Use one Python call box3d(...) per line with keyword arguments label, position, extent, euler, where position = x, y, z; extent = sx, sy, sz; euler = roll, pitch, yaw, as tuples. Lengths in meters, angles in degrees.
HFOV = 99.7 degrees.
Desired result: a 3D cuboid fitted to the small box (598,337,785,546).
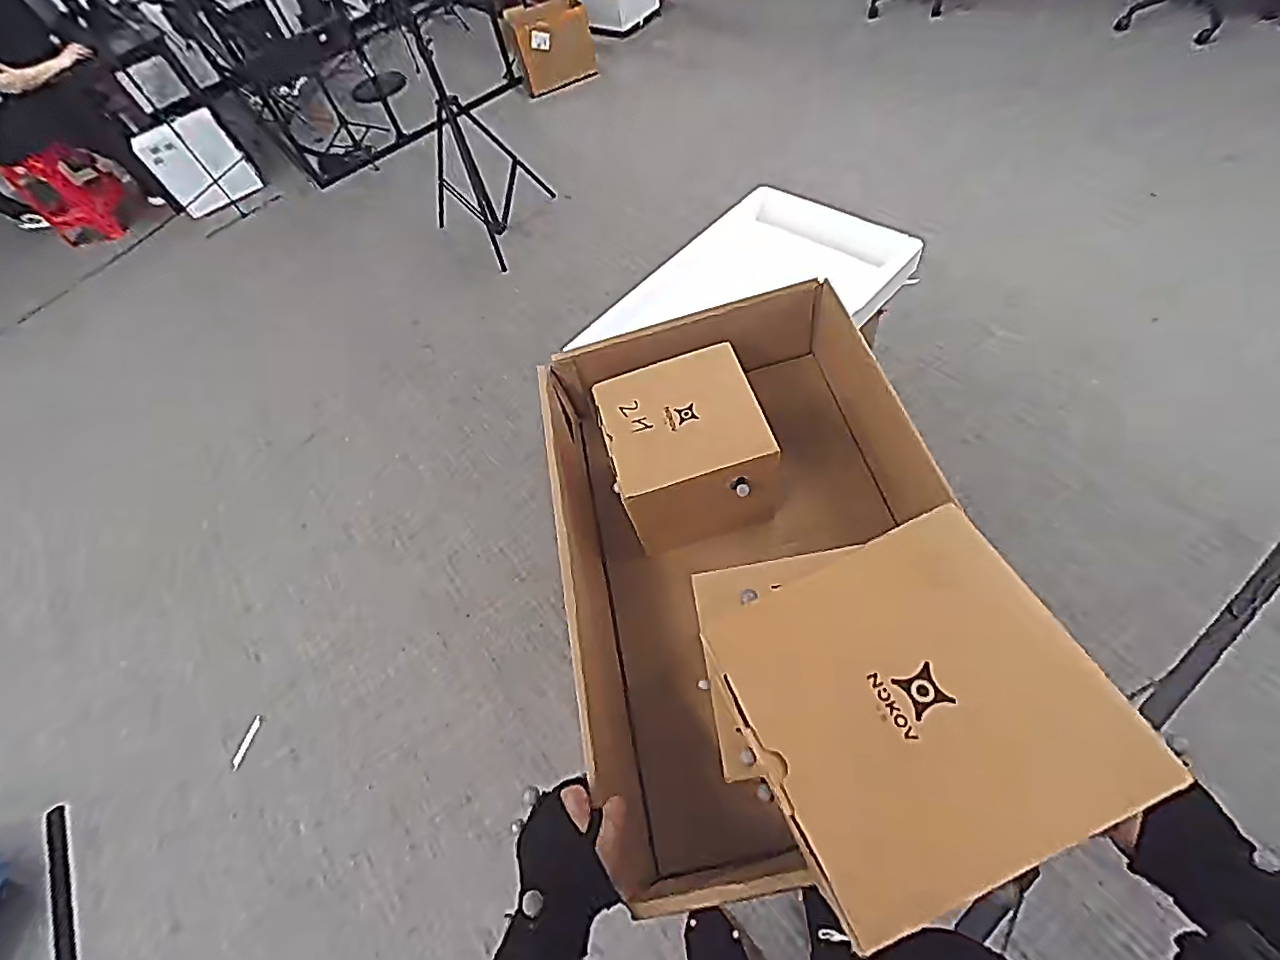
box3d(label="small box", position=(0.063, -0.040, 0.669), extent=(0.179, 0.176, 0.168), euler=(-17, 59, 1))
